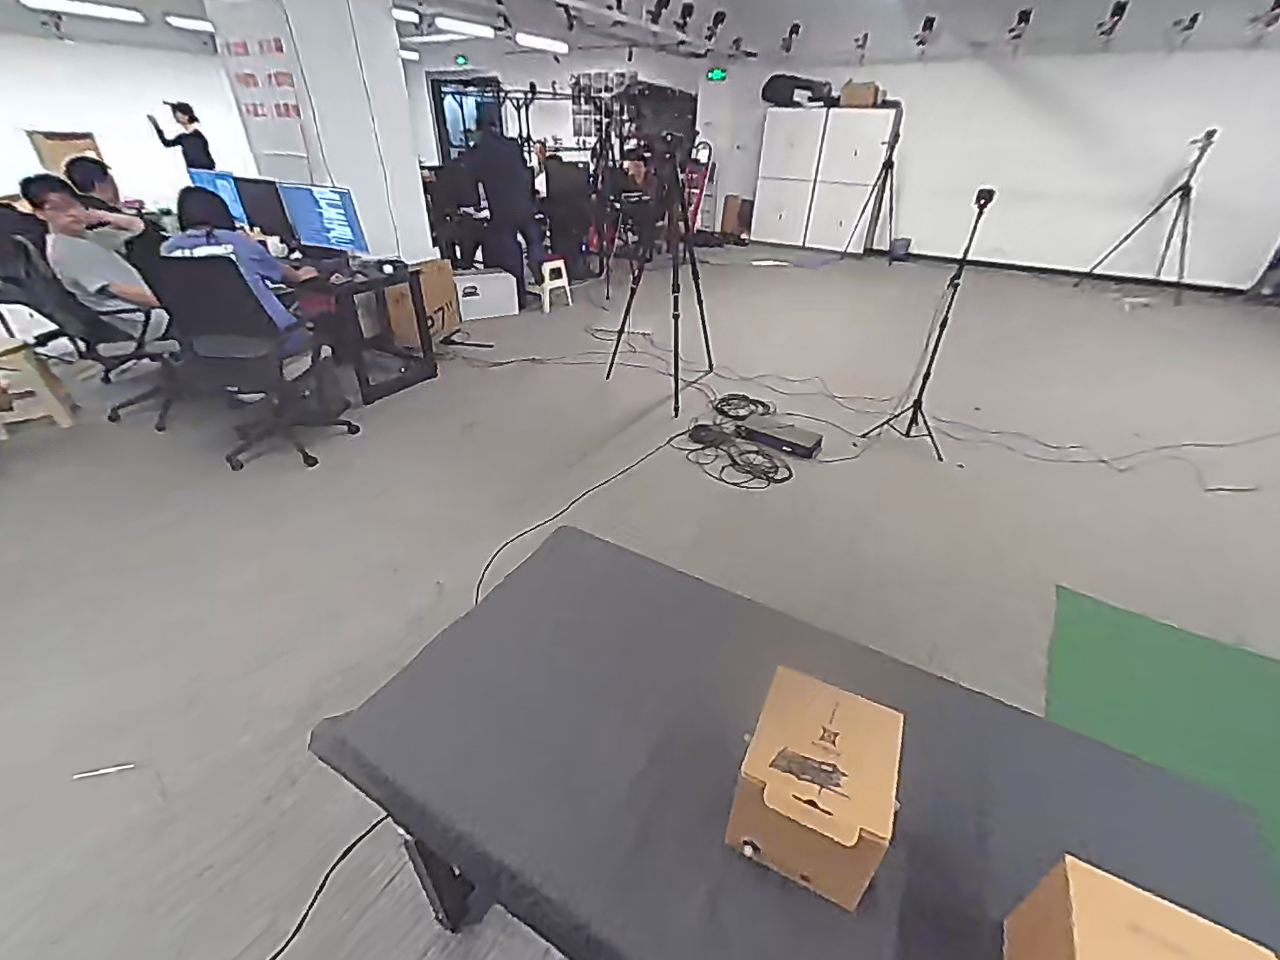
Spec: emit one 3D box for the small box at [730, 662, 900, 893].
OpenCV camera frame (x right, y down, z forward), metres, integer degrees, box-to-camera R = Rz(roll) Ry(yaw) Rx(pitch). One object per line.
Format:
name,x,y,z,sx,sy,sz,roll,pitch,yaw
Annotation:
small box,0.224,0.383,0.706,0.168,0.176,0.179,17,35,22

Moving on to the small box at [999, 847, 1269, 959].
small box,0.464,0.514,0.515,0.168,0.176,0.179,18,35,23
